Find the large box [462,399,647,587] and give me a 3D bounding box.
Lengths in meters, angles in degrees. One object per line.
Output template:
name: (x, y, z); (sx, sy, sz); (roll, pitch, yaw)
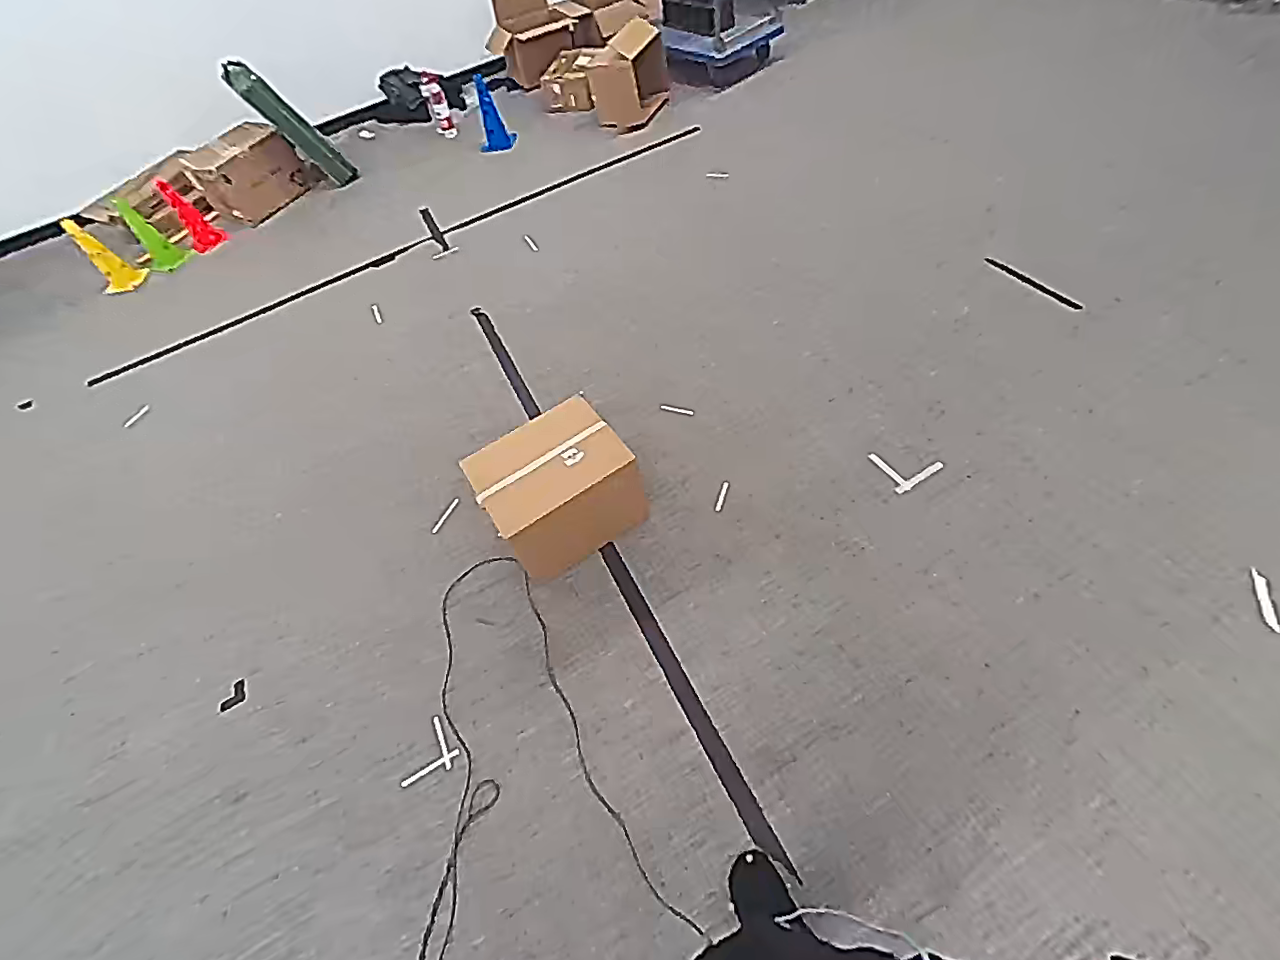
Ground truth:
large box: (-0.238, 0.041, 1.599); (0.408, 0.320, 0.320); (-32, 57, -14)
